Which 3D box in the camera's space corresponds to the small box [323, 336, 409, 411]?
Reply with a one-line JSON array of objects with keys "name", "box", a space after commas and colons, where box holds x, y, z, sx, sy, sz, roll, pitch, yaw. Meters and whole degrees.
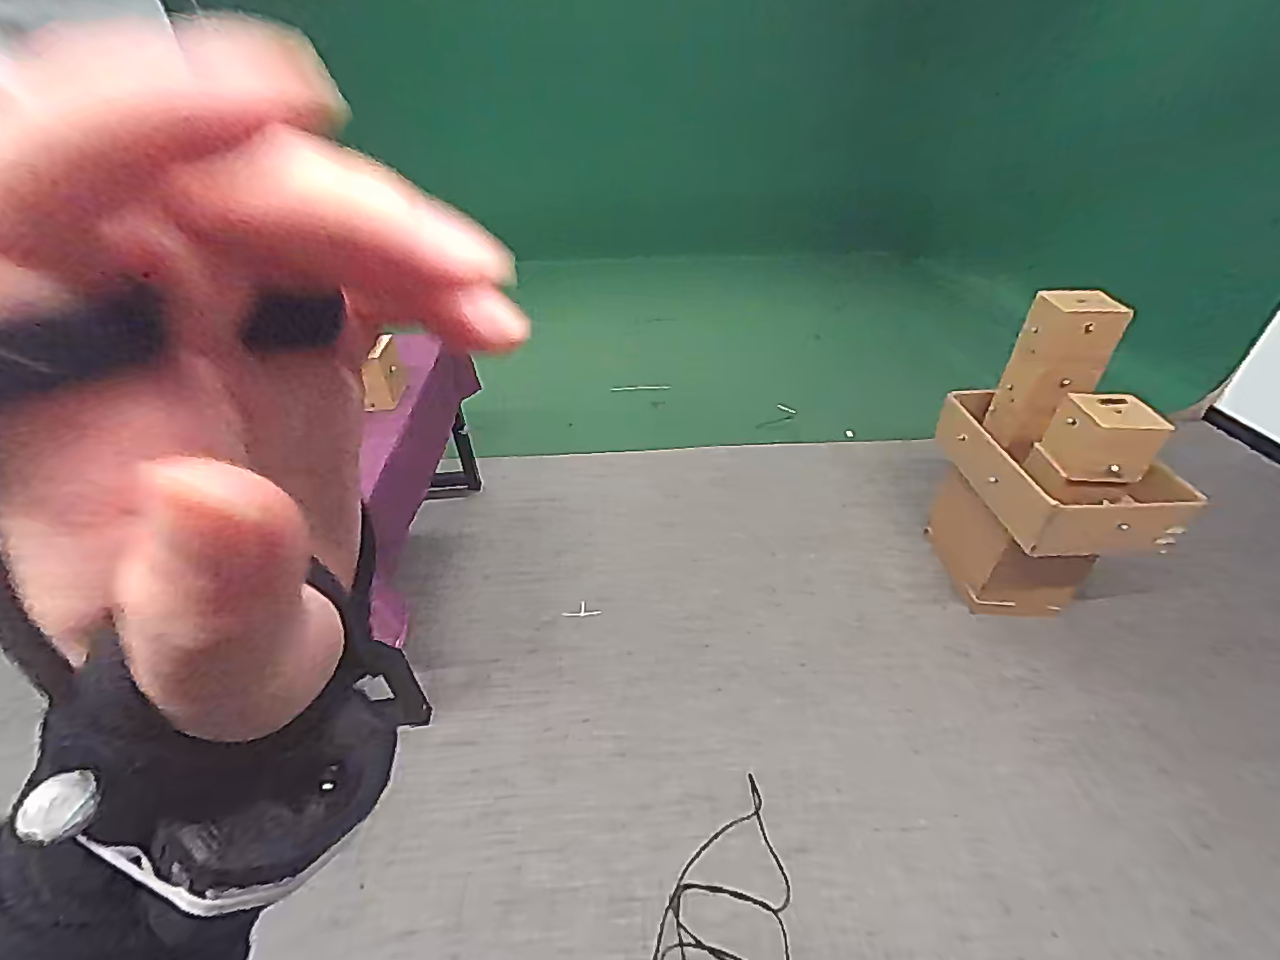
[{"name": "small box", "box": [-0.823, -0.321, 1.646, 0.168, 0.176, 0.179, -5, 38, -4]}]

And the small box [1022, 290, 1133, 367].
[{"name": "small box", "box": [1.250, -0.439, 1.567, 0.179, 0.176, 0.168, 2, 39, 5]}]

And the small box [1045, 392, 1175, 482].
[{"name": "small box", "box": [1.215, -0.114, 1.418, 0.168, 0.176, 0.179, 2, 38, 6]}]

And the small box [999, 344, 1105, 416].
[{"name": "small box", "box": [1.257, -0.306, 1.665, 0.179, 0.176, 0.168, 2, 38, 5]}]
